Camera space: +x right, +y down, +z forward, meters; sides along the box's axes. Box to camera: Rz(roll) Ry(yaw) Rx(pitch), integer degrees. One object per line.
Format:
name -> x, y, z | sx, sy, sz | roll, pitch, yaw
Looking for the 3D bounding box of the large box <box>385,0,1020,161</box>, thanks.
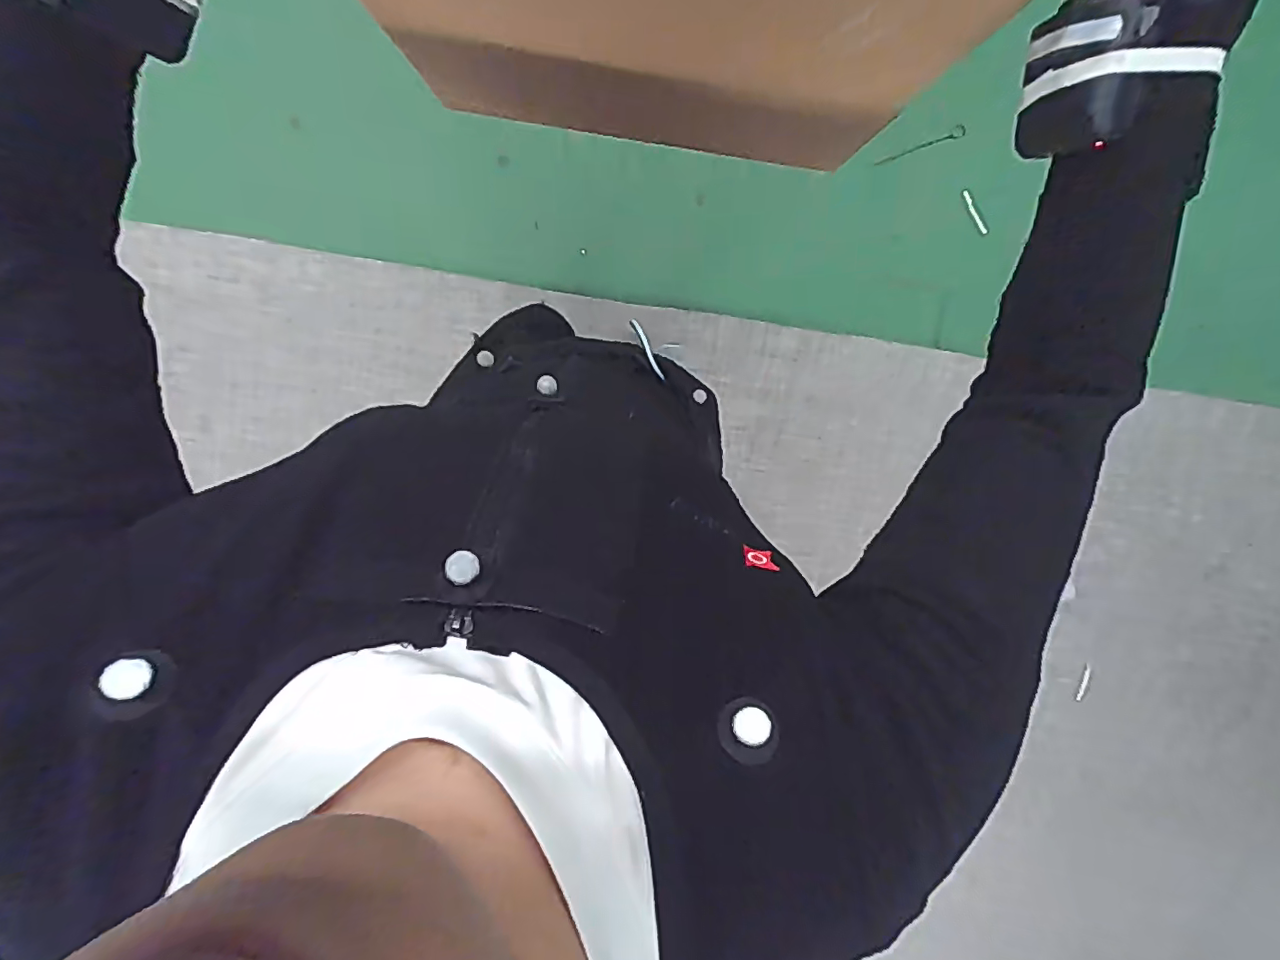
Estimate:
large box -> 0.033, -0.460, 0.373 | 0.408, 0.320, 0.320 | 7, 104, -4
